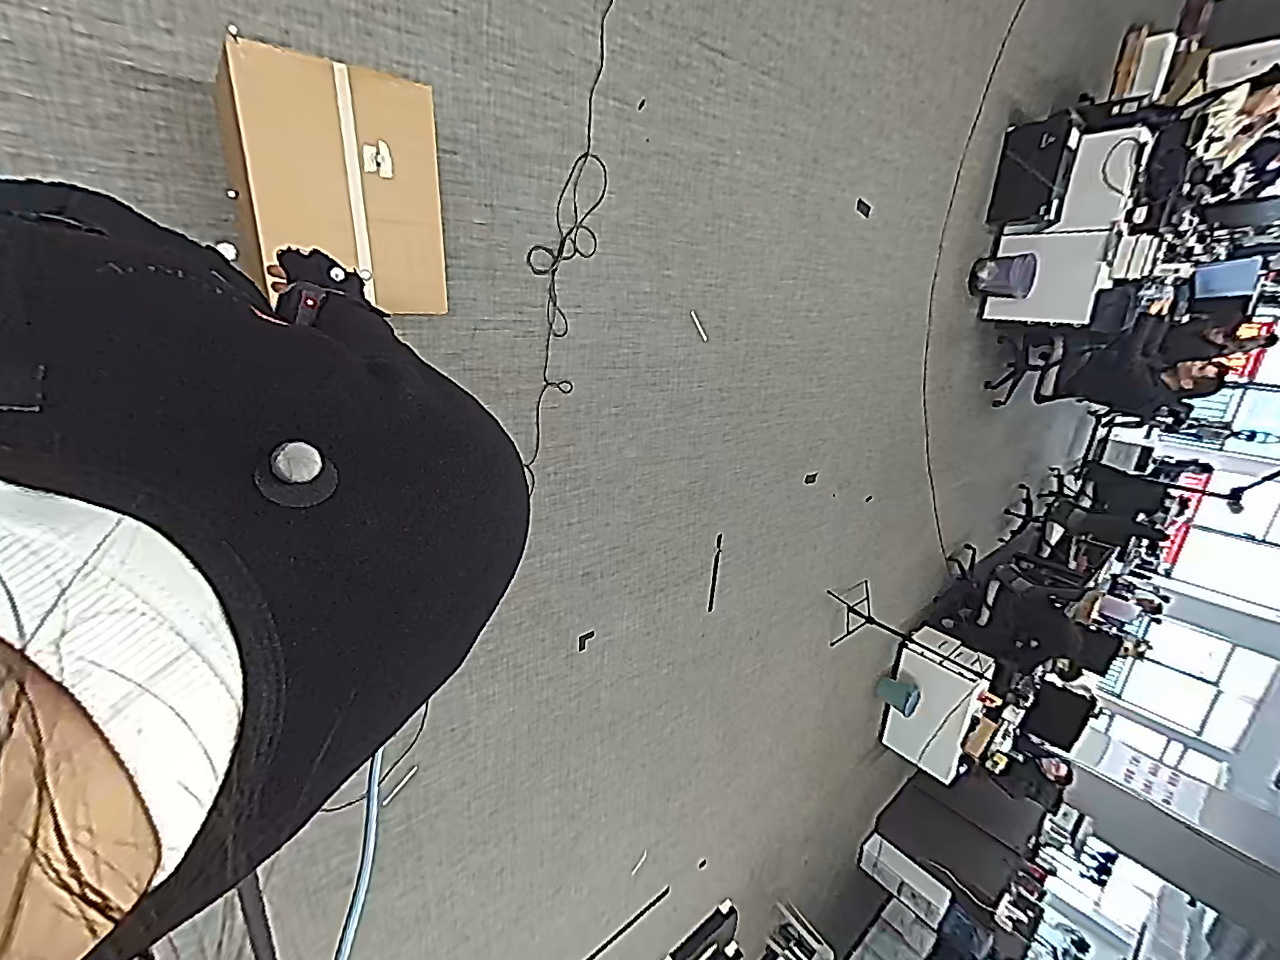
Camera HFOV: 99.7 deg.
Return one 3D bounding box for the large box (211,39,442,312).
[{"bbox_3d":[-0.624,-0.554,1.089,0.320,0.320,0.408,-14,114,-39],"label":"large box"}]
